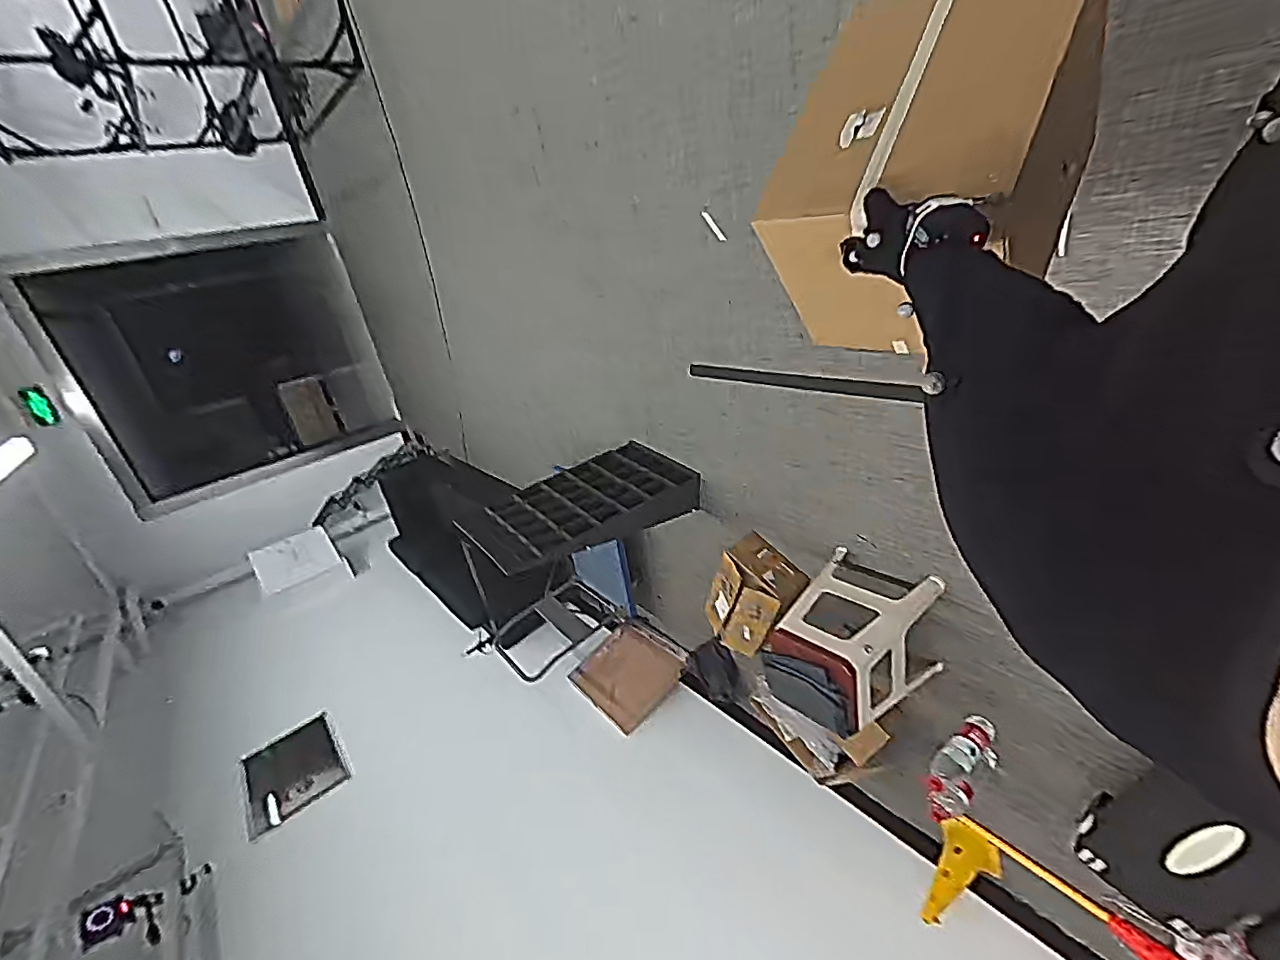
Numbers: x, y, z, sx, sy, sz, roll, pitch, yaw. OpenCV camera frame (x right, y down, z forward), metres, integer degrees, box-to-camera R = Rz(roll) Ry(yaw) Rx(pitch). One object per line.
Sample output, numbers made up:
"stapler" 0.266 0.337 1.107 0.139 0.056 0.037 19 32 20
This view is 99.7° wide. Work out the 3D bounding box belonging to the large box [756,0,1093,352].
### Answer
"large box" 0.435 -0.458 0.817 0.320 0.408 0.320 19 171 40
